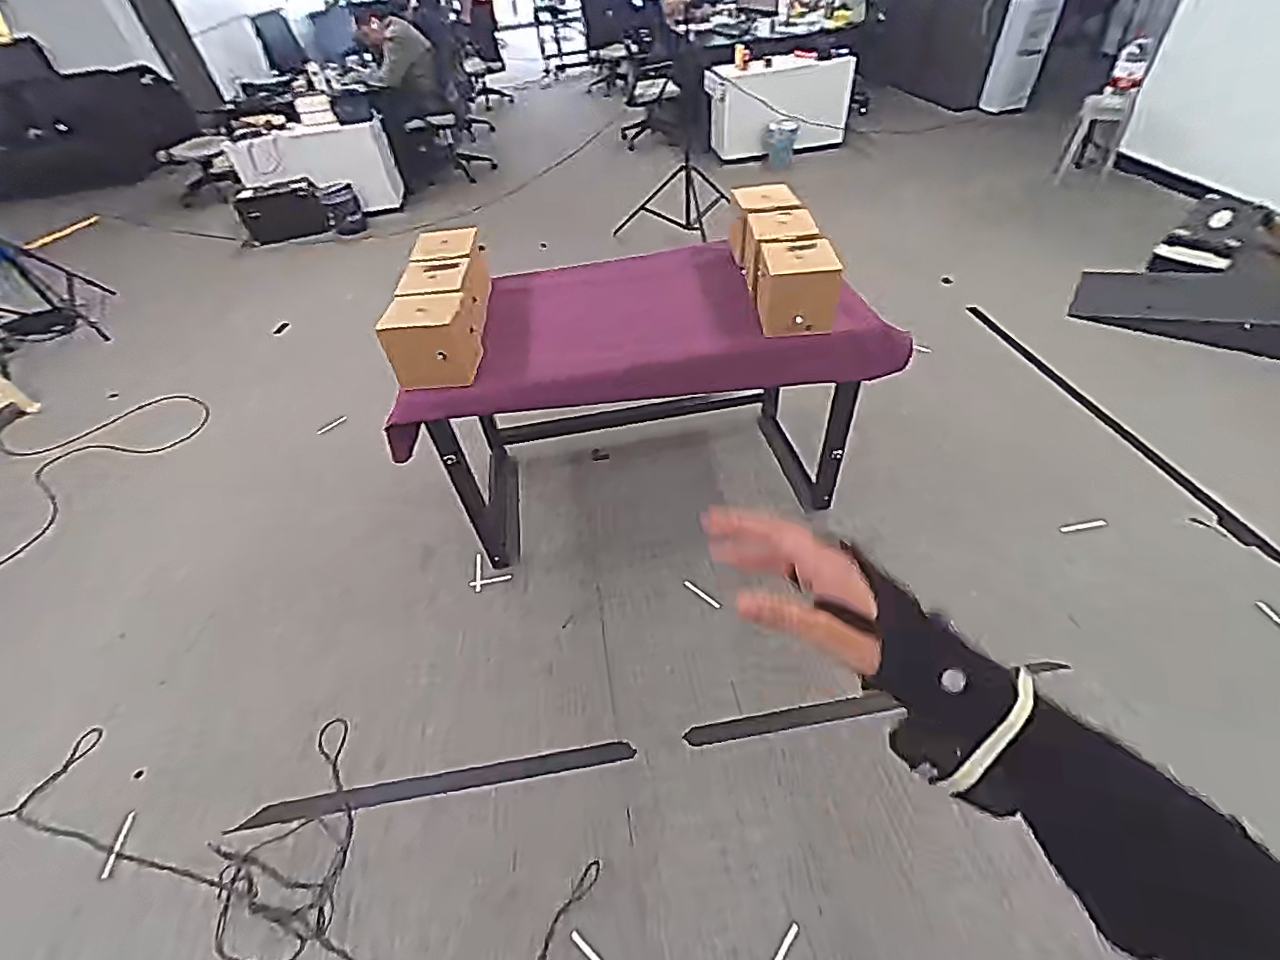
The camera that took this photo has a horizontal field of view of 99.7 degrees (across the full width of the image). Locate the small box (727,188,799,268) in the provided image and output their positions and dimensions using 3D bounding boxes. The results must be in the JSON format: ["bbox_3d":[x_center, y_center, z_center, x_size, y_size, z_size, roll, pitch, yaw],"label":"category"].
[{"bbox_3d":[0.361,-0.755,1.623,0.168,0.176,0.179,-6,46,-1],"label":"small box"}]

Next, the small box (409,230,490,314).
[{"bbox_3d":[-0.544,-0.604,1.574,0.168,0.176,0.179,-7,47,0],"label":"small box"}]

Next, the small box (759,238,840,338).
[{"bbox_3d":[0.390,-0.479,1.355,0.168,0.176,0.179,-3,50,8],"label":"small box"}]
